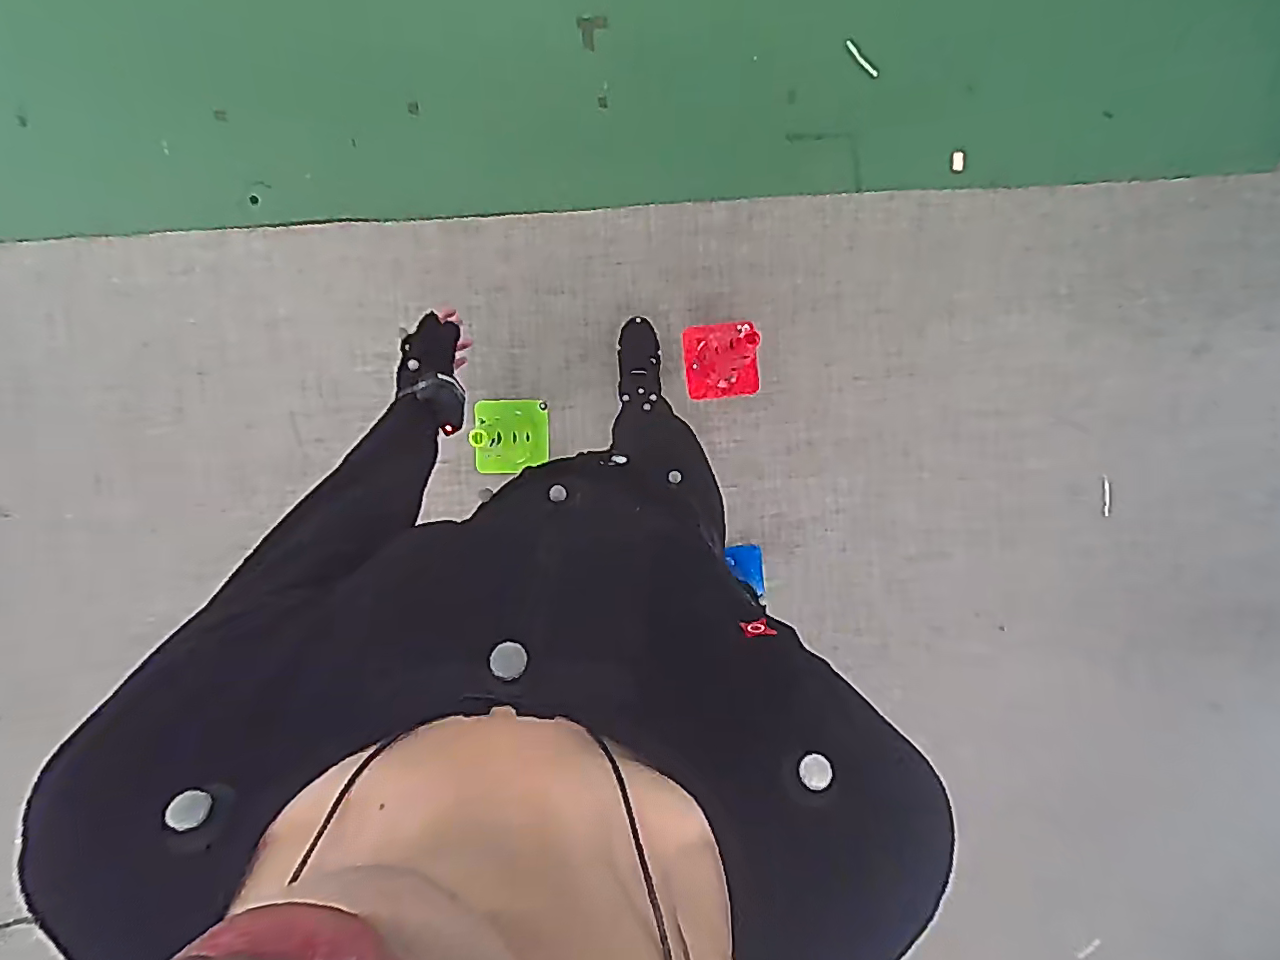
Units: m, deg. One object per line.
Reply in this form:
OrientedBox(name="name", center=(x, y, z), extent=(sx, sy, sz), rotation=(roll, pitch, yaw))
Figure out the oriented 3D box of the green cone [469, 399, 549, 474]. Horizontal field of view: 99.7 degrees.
OrientedBox(name="green cone", center=(-0.346, -0.101, 1.303), extent=(0.200, 0.368, 0.202), rotation=(-2, 96, -1))
